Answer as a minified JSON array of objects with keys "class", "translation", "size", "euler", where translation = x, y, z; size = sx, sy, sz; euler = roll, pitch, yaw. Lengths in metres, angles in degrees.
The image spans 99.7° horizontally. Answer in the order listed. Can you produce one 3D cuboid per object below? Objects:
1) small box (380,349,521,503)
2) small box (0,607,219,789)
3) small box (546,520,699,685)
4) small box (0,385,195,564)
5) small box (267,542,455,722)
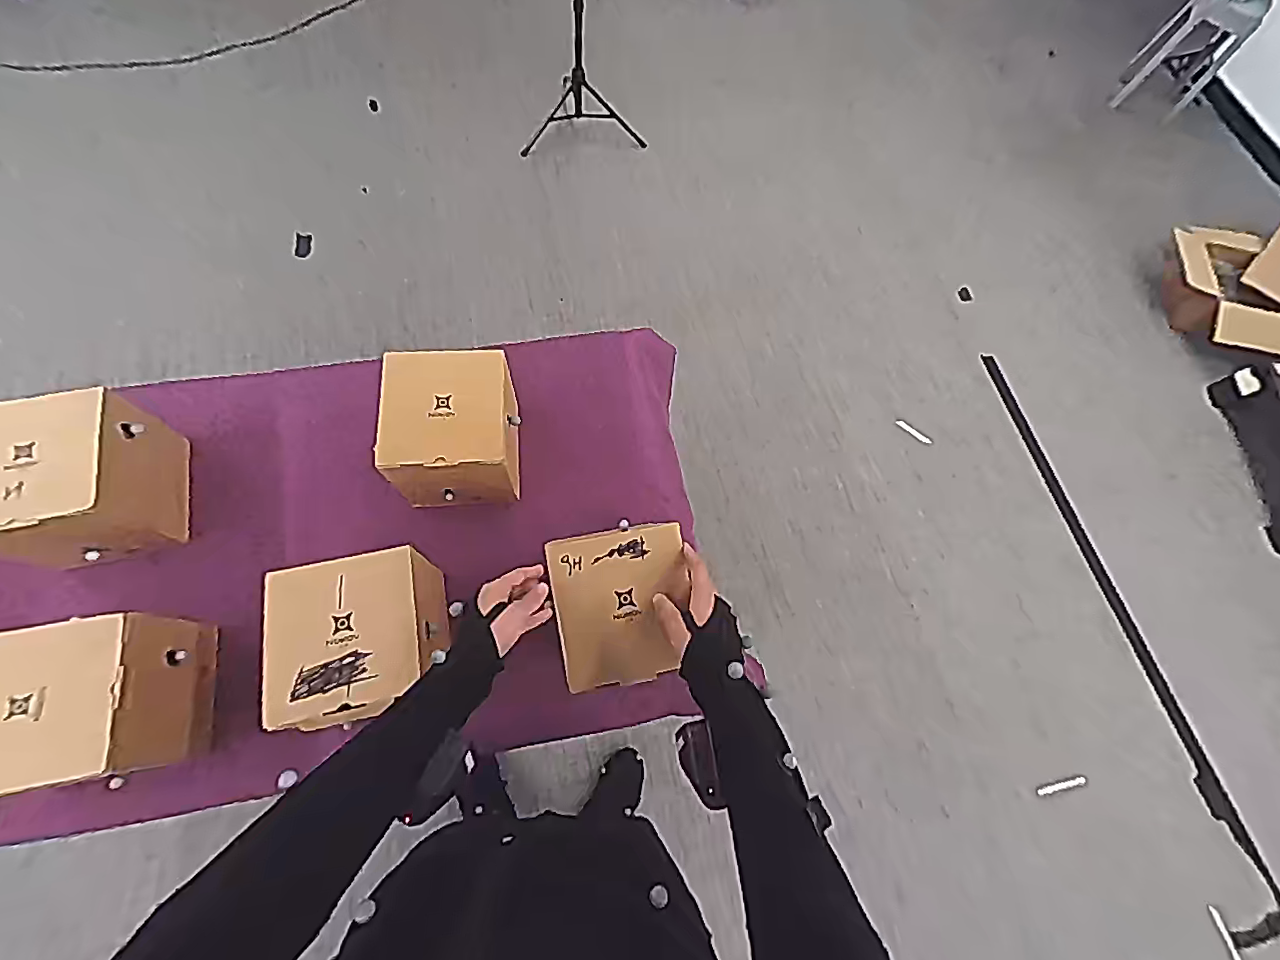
[{"class":"small box","translation":[-0.272,-0.076,0.815],"size":[0.168,0.176,0.179],"euler":[-3,70,-7]},{"class":"small box","translation":[-0.643,0.256,0.639],"size":[0.179,0.176,0.168],"euler":[-8,69,-10]},{"class":"small box","translation":[-0.029,0.150,0.721],"size":[0.168,0.176,0.179],"euler":[-8,86,-9]},{"class":"small box","translation":[-0.748,-0.002,0.735],"size":[0.168,0.176,0.179],"euler":[-12,70,-10]},{"class":"small box","translation":[-0.344,0.197,0.694],"size":[0.168,0.176,0.179],"euler":[-10,69,-10]}]
